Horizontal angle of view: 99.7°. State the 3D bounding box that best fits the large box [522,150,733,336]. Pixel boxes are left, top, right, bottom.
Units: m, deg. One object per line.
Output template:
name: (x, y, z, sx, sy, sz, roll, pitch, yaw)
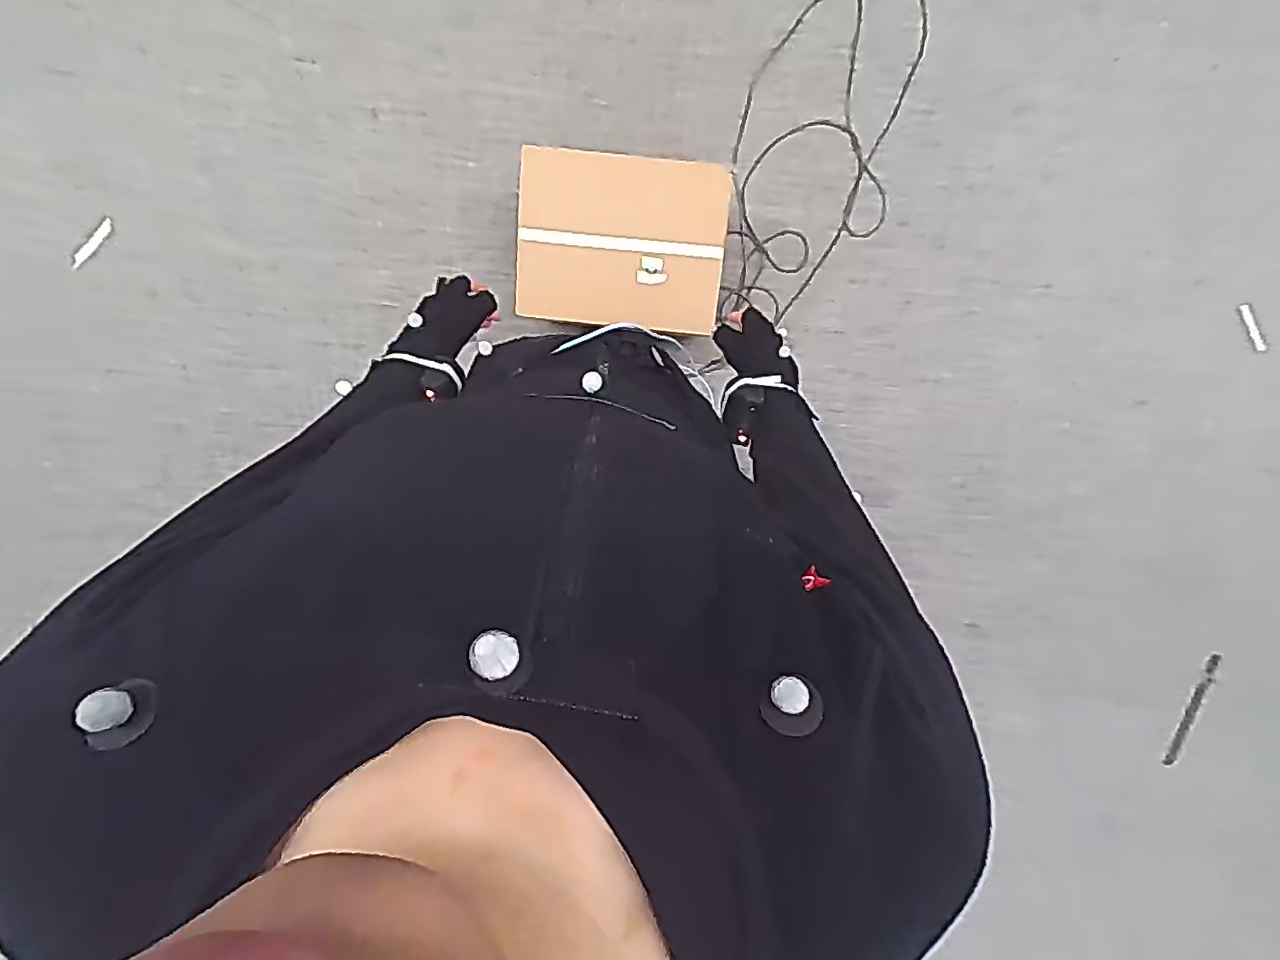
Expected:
large box: (-0.031, -0.501, 1.211, 0.408, 0.320, 0.320, 6, 105, -1)
